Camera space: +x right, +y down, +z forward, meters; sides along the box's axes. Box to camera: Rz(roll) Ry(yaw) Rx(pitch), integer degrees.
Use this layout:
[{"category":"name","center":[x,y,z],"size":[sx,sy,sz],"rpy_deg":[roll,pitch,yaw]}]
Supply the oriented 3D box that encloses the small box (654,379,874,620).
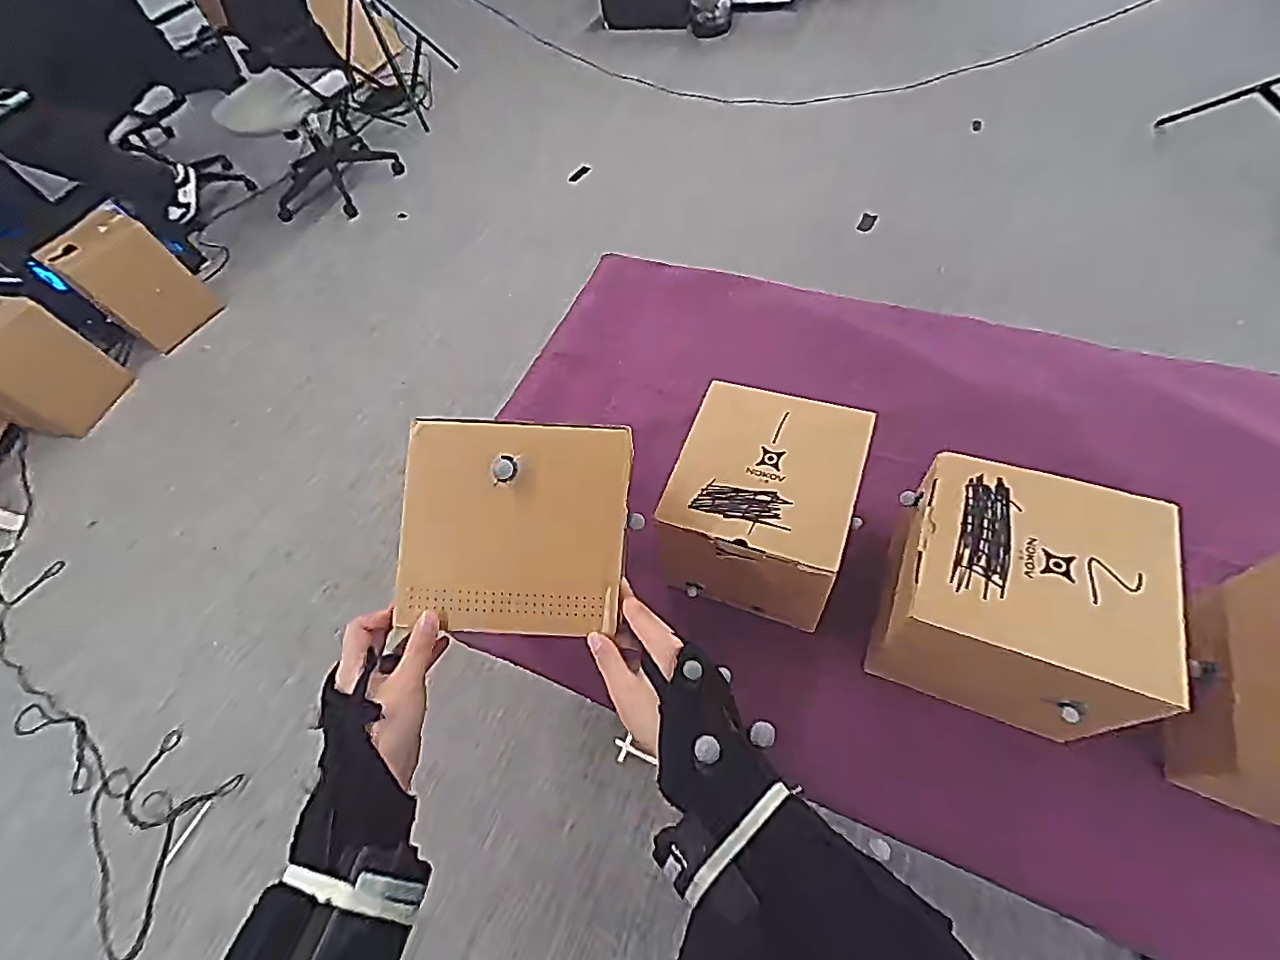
[{"category":"small box","center":[0.130,0.025,0.571],"size":[0.168,0.176,0.179],"rpy_deg":[15,61,18]}]

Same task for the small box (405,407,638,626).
[{"category":"small box","center":[-0.095,0.037,0.500],"size":[0.179,0.168,0.176],"rpy_deg":[3,84,0]}]
